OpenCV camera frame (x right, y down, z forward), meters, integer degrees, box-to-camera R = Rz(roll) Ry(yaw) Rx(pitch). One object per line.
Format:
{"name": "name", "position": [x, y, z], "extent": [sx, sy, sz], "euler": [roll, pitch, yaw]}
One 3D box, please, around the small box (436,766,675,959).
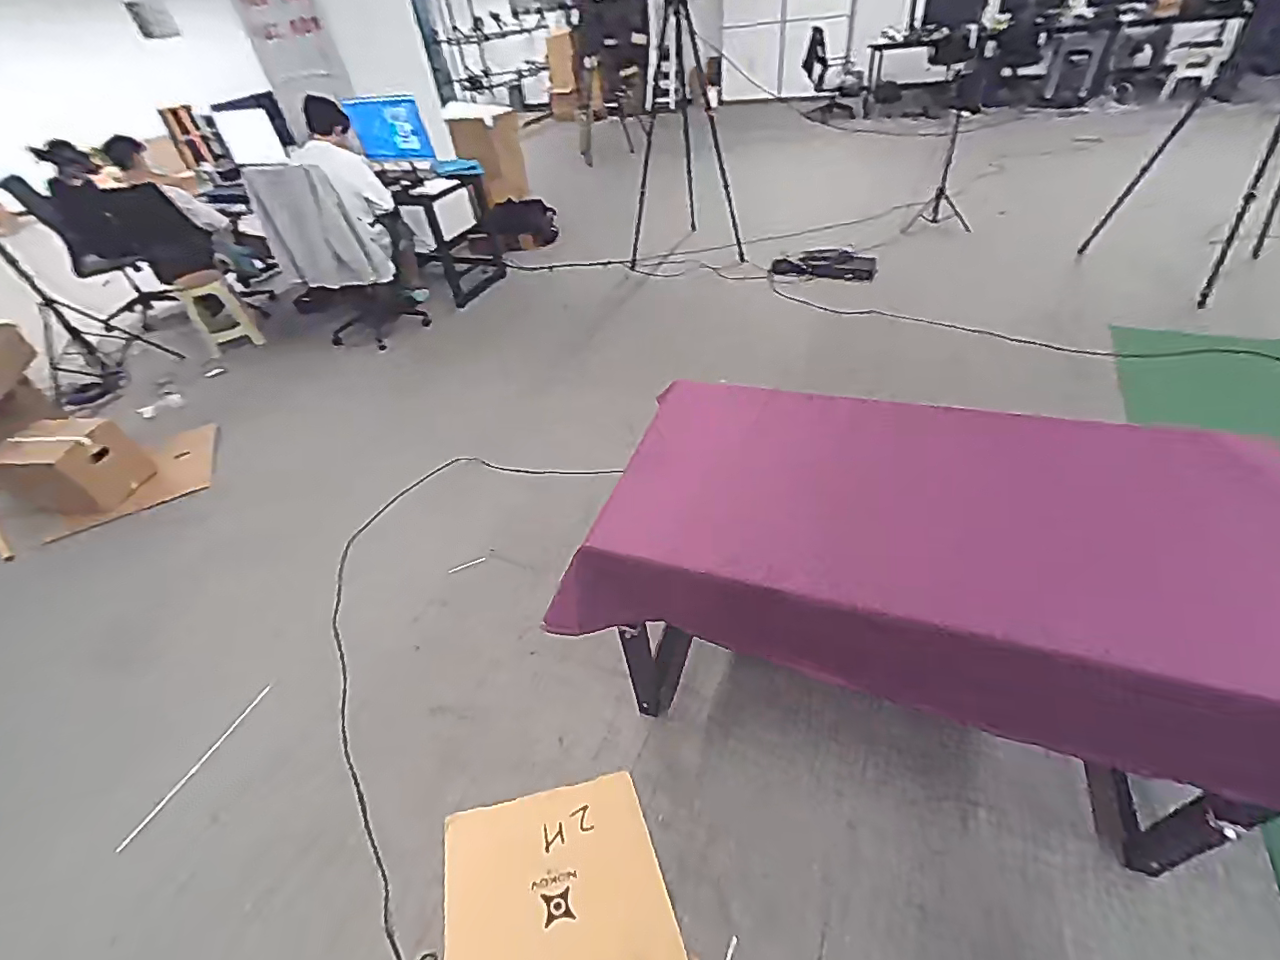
{"name": "small box", "position": [-0.076, 0.388, 0.457], "extent": [0.168, 0.176, 0.179], "euler": [-4, 27, -17]}
